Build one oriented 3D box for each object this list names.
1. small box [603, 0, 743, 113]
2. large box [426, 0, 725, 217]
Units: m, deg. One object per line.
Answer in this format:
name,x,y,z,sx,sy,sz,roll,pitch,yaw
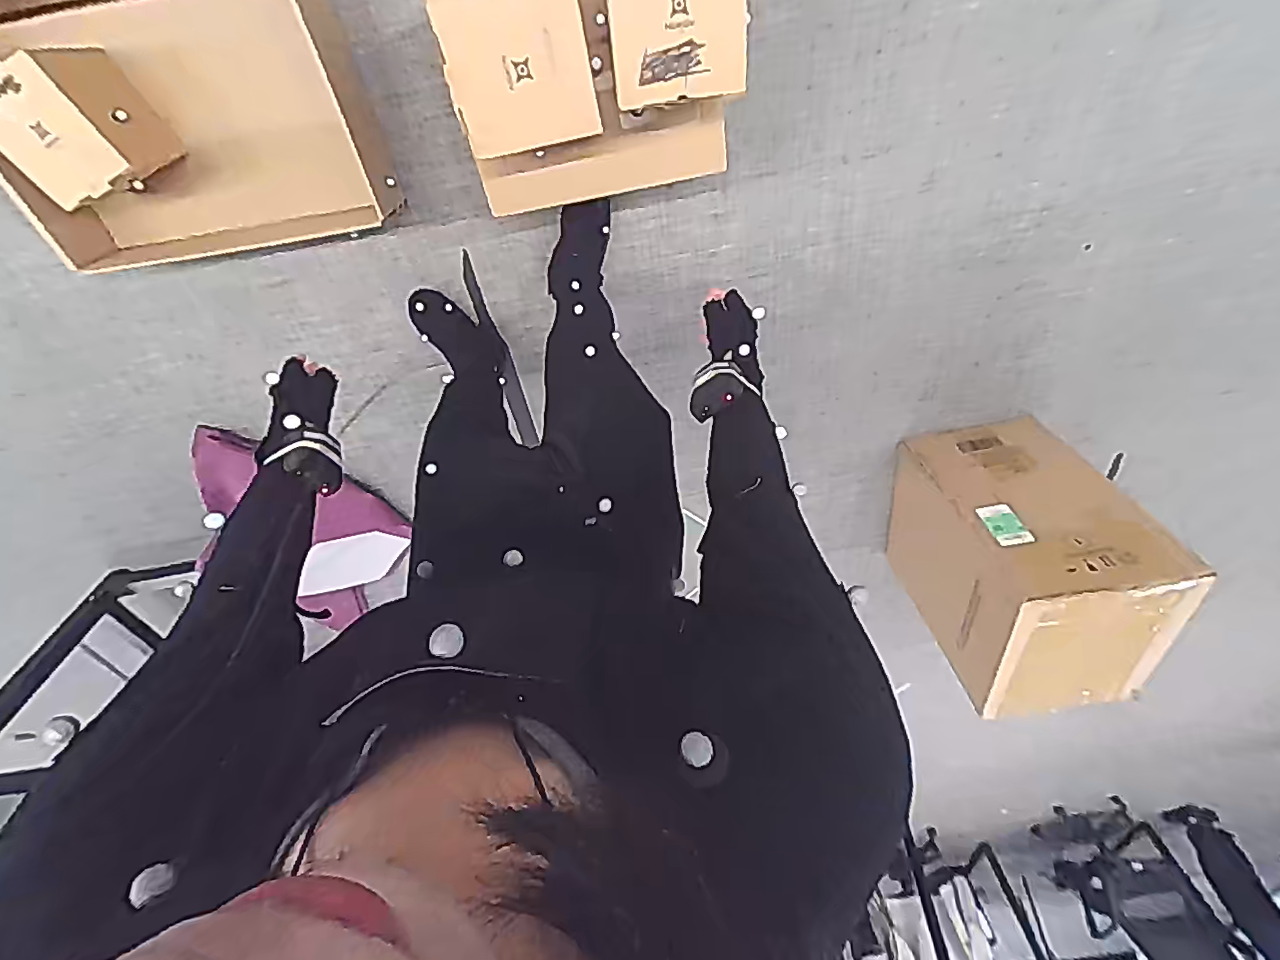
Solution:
small box,0.038,-0.600,0.709,0.168,0.176,0.179,-7,127,0
large box,-0.093,-0.691,0.935,0.408,0.320,0.320,-11,129,2
